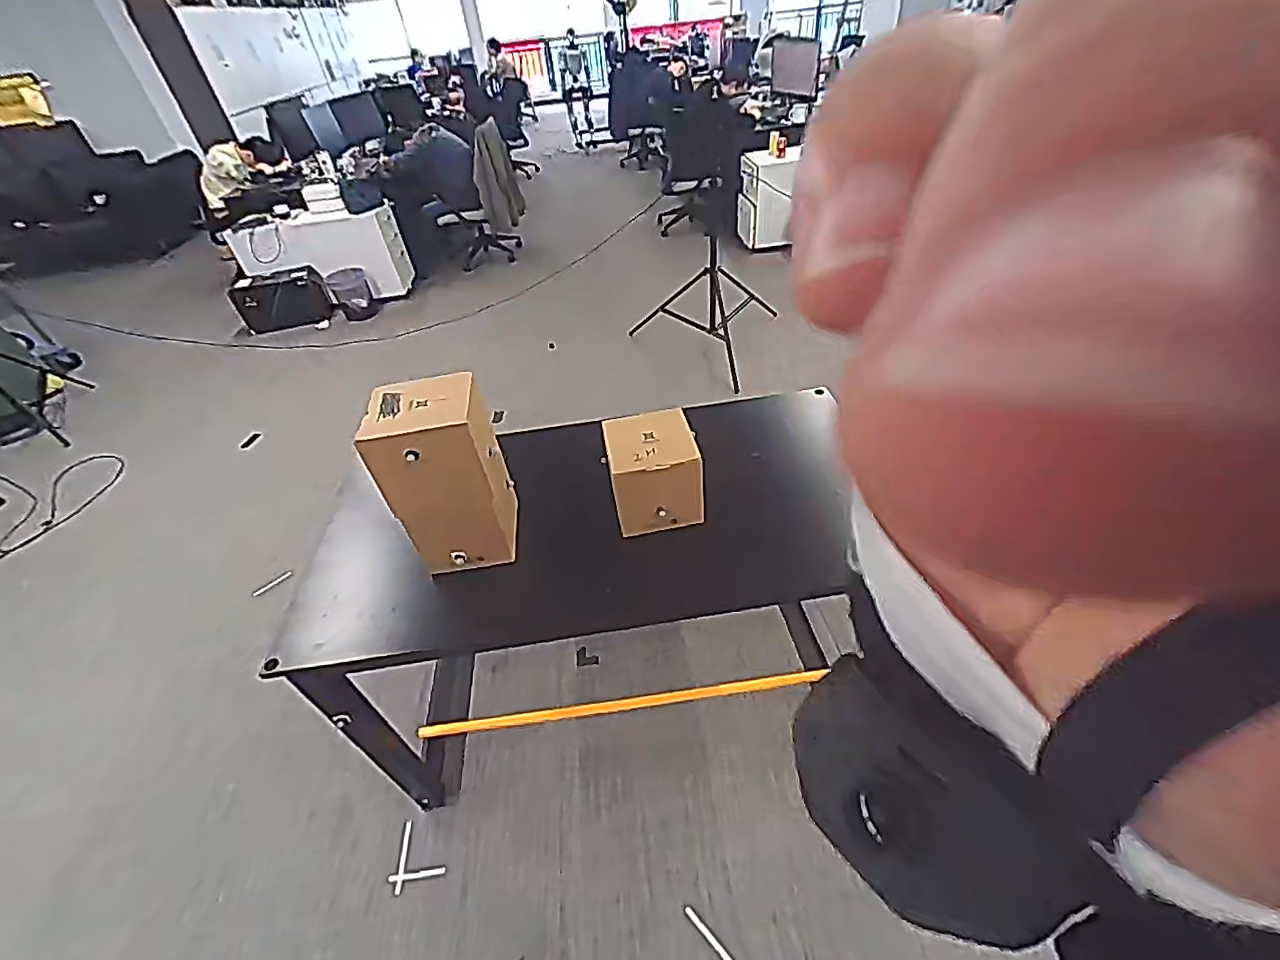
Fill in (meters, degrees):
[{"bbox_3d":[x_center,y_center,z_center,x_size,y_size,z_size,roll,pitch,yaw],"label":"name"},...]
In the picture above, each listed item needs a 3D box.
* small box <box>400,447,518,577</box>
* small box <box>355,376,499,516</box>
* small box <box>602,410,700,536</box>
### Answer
[{"bbox_3d":[-0.342,0.062,1.060,0.168,0.176,0.179,-11,42,-2],"label":"small box"},{"bbox_3d":[-0.360,-0.057,0.947,0.179,0.176,0.168,-11,41,-4],"label":"small box"},{"bbox_3d":[0.022,-0.014,1.089,0.168,0.176,0.179,-11,41,-3],"label":"small box"}]
